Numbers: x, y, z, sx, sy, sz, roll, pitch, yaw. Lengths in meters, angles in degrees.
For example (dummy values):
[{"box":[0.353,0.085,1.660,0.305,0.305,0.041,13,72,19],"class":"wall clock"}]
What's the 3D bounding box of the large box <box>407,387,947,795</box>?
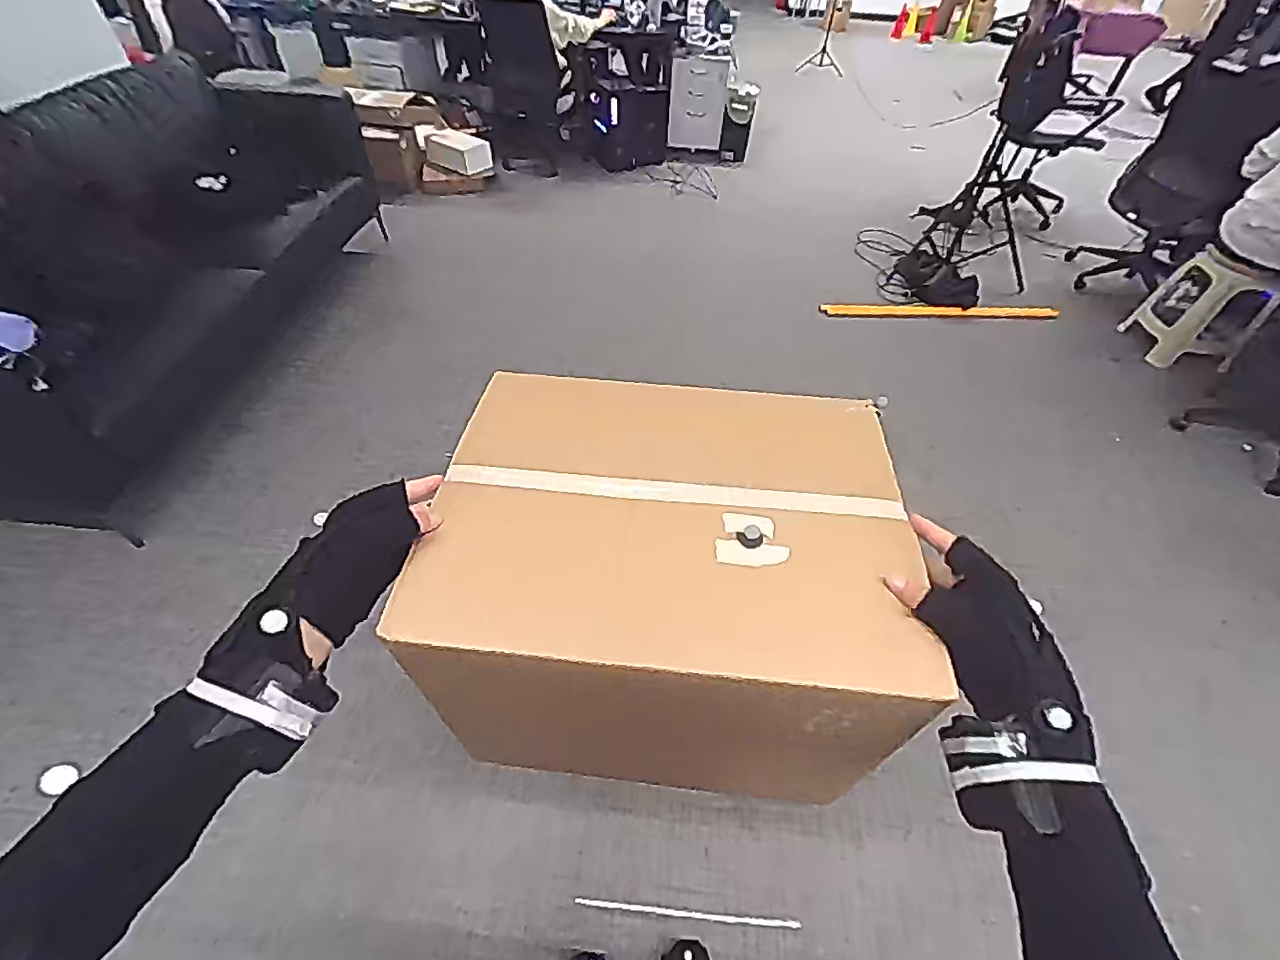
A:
[{"box":[0.030,0.124,0.598,0.408,0.320,0.320,5,48,2],"class":"large box"}]
